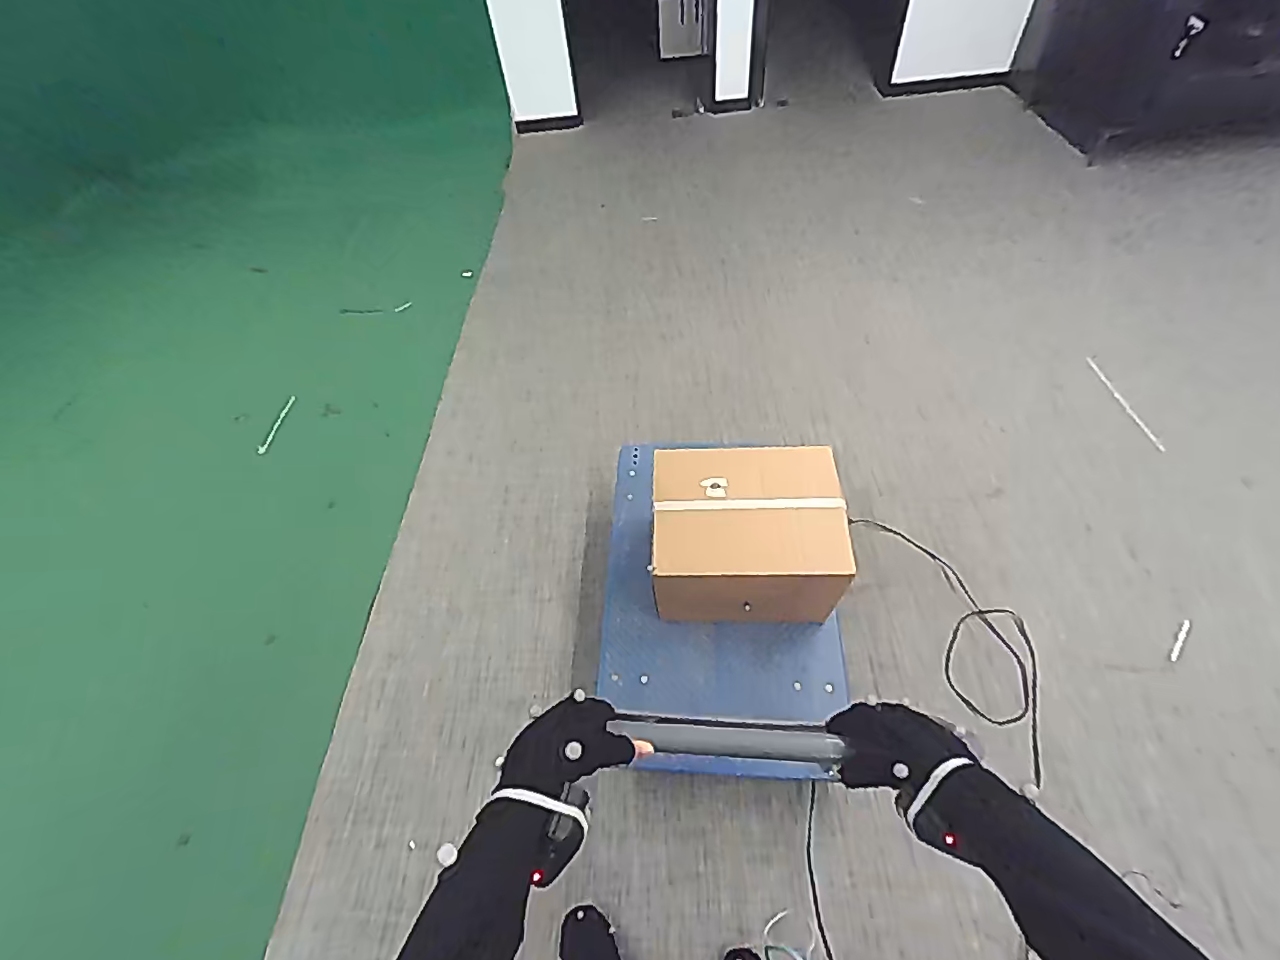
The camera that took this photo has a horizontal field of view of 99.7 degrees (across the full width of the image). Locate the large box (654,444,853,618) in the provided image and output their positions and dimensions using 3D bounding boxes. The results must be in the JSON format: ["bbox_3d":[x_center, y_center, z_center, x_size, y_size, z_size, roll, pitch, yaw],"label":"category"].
[{"bbox_3d":[0.247,0.135,1.298,0.408,0.320,0.320,-3,58,6],"label":"large box"}]
